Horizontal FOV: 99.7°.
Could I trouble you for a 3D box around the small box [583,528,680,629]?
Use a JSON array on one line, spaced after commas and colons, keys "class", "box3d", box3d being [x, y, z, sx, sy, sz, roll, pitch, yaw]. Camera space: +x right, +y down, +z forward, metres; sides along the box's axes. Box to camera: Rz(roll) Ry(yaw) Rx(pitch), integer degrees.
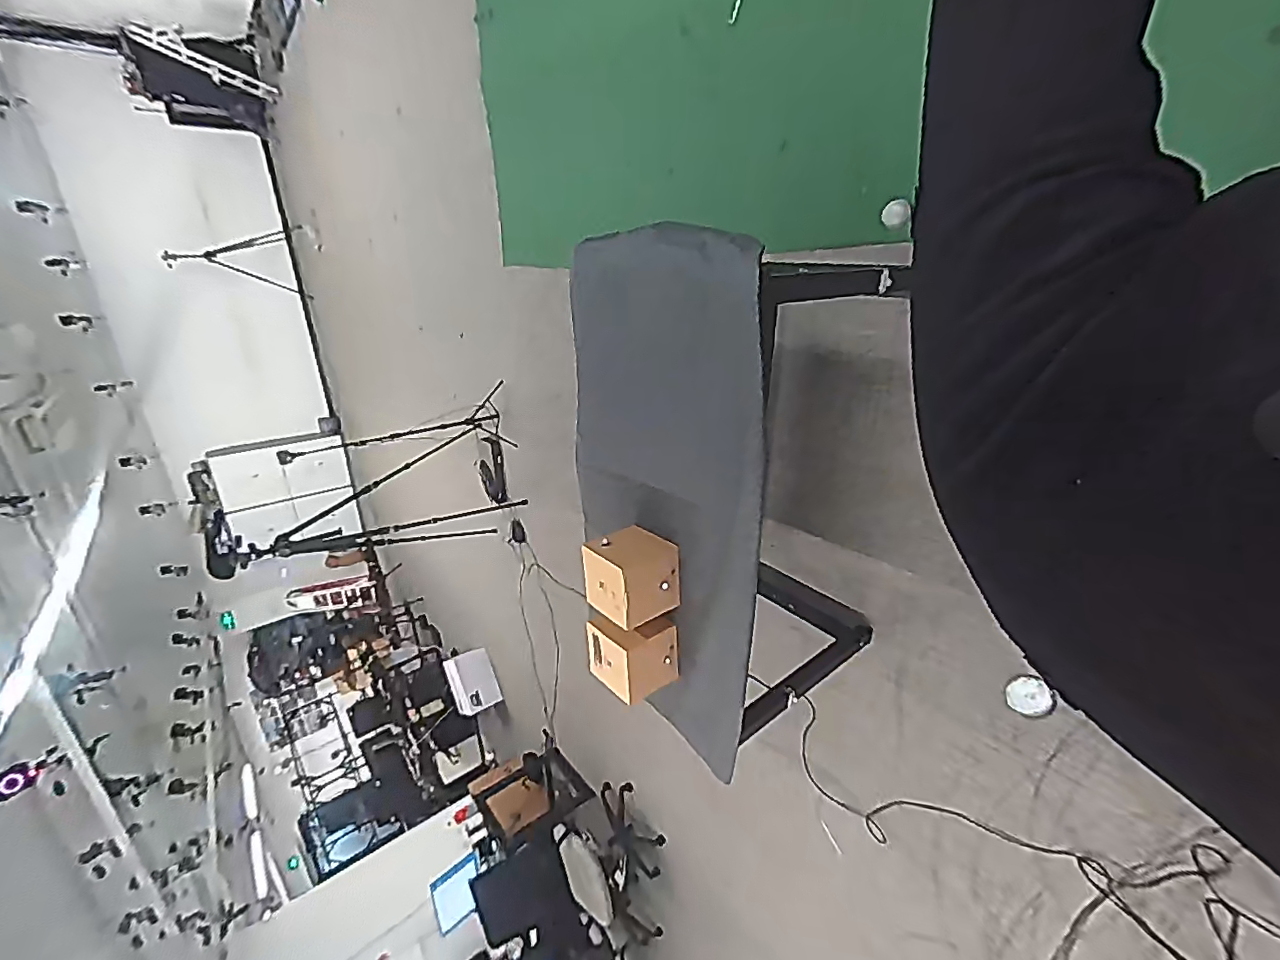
[{"class": "small box", "box3d": [-0.020, 0.232, 1.334, 0.179, 0.176, 0.168, 21, 121, 48]}]
